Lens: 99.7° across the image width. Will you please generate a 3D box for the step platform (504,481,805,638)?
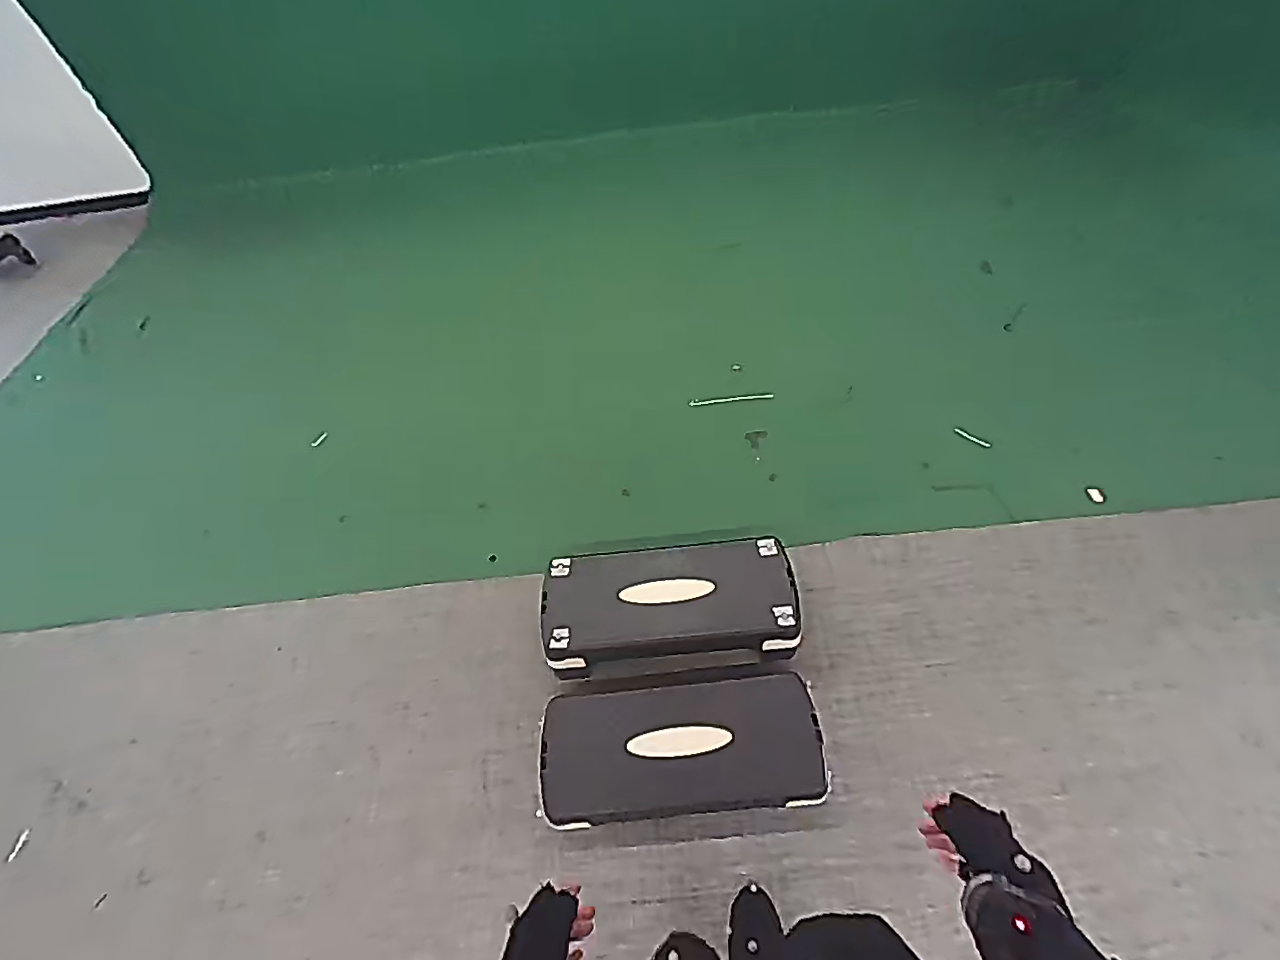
[{"bbox_3d":[0.033,0.197,1.318,0.684,0.204,0.286,-7,53,2],"label":"step platform"}]
